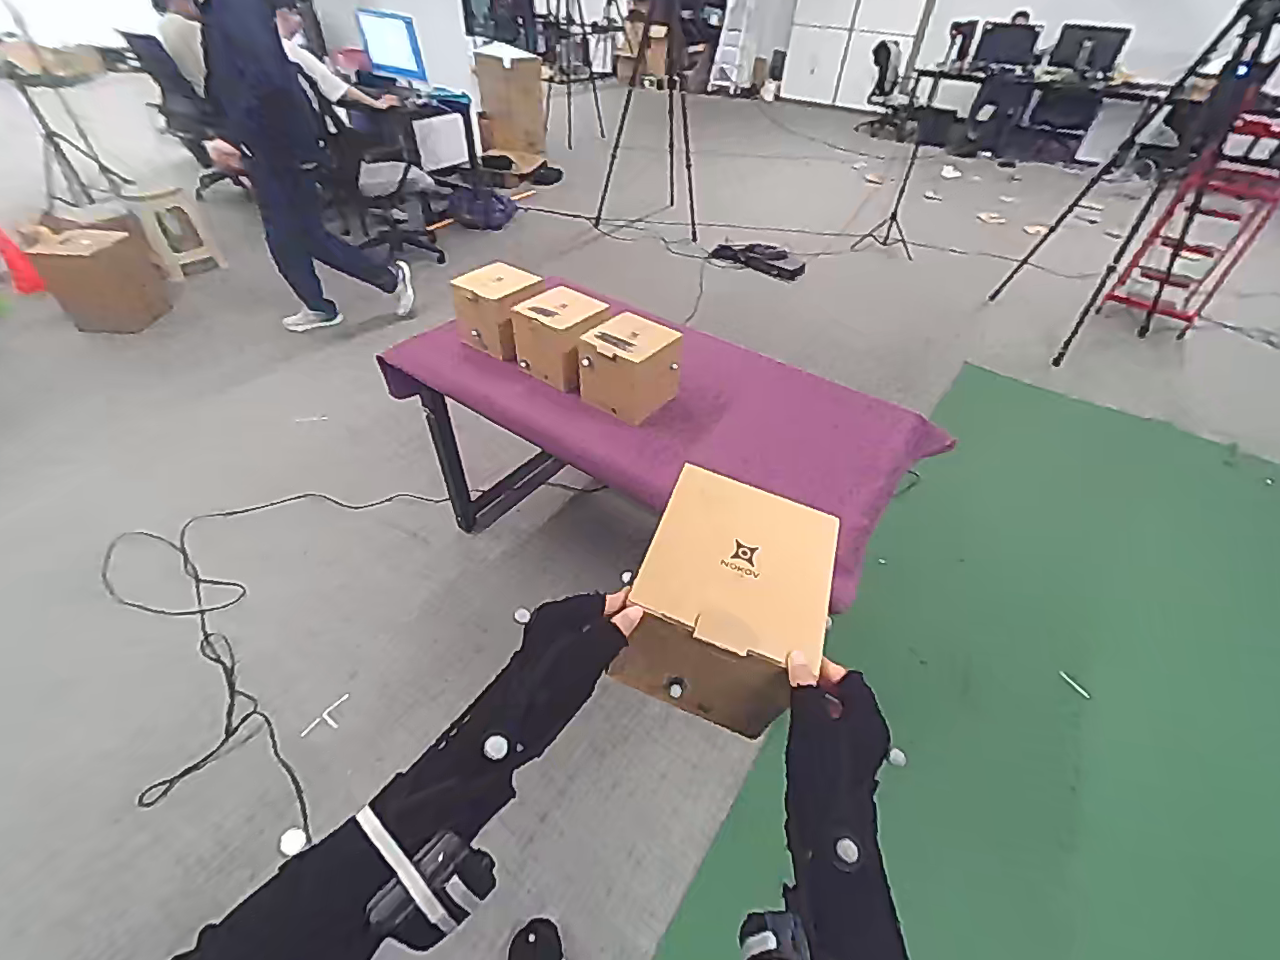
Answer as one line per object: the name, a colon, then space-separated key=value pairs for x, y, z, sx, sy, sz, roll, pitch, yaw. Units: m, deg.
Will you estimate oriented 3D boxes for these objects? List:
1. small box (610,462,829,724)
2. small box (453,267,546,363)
small box: x=0.076 y=0.118 z=0.561 sx=0.168 sy=0.176 sz=0.179 roll=20 pitch=49 yaw=7
small box: x=-0.366 y=-0.441 z=1.444 sx=0.168 sy=0.176 sz=0.179 roll=28 pitch=48 yaw=25
